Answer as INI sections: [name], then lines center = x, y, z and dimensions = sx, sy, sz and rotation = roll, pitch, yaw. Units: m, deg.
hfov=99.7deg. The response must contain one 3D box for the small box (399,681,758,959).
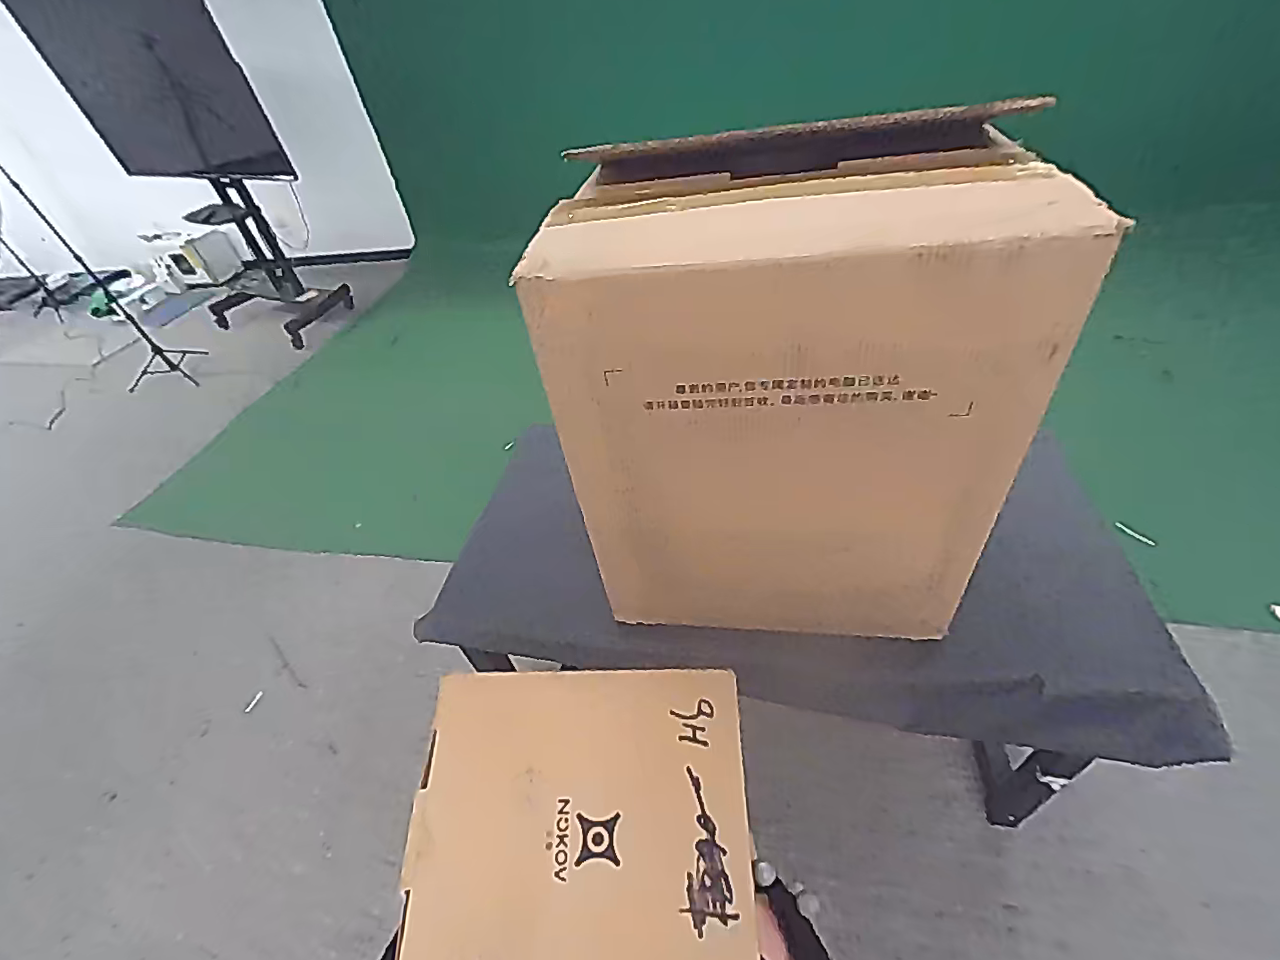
[small box]
center = -0.027, 0.229, 0.350
dimensions = 0.179, 0.176, 0.168
rotation = -1, 62, 1
